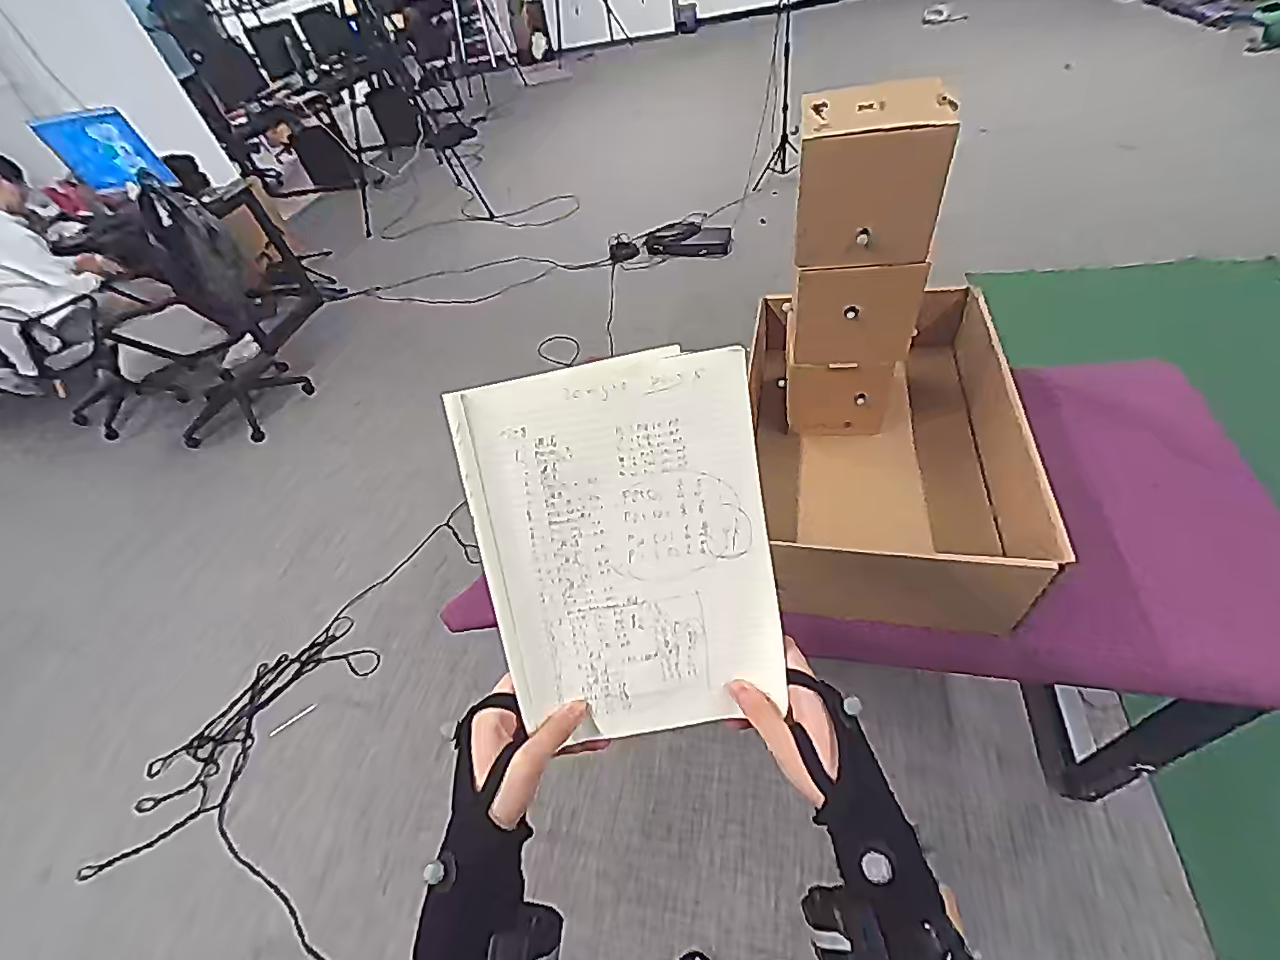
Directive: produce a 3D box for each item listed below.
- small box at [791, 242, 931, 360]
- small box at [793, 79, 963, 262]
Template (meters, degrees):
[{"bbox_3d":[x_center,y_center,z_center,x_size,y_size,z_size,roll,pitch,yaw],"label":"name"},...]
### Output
[{"bbox_3d":[0.336,-0.305,0.857,0.179,0.176,0.168,1,50,13],"label":"small box"},{"bbox_3d":[0.308,-0.415,0.738,0.179,0.176,0.168,4,50,14],"label":"small box"}]
